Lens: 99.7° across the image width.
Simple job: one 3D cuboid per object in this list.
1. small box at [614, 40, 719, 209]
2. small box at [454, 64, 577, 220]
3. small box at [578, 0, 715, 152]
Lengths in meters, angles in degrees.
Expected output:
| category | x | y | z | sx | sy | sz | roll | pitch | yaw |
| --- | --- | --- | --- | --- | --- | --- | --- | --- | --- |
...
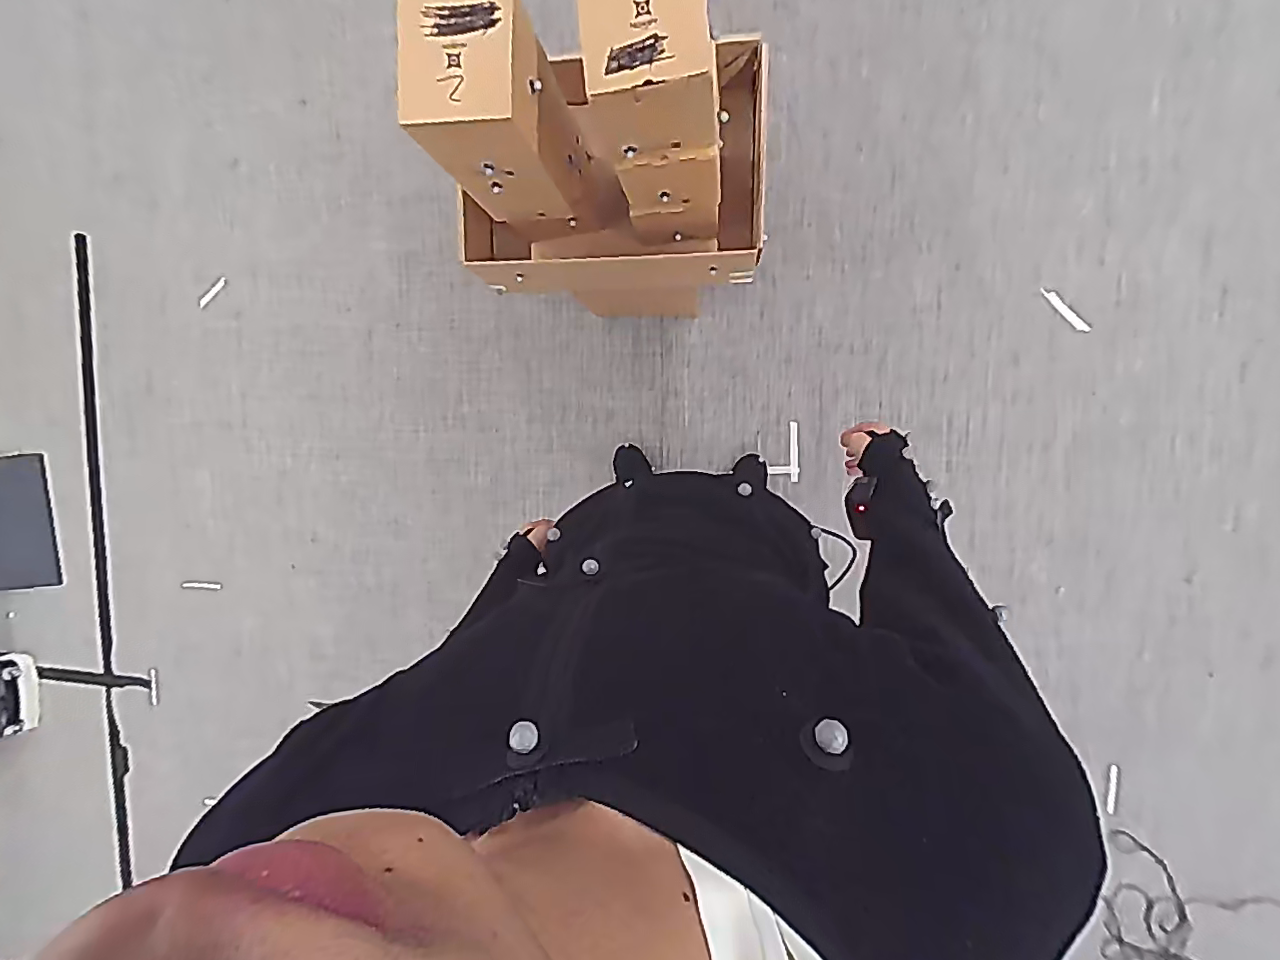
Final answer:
| category | x | y | z | sx | sy | sz | roll | pitch | yaw |
| --- | --- | --- | --- | --- | --- | --- | --- | --- | --- |
| small box | 0.049 | -0.592 | 0.923 | 0.168 | 0.176 | 0.179 | -1 | 94 | 9 |
| small box | -0.215 | -0.590 | 0.964 | 0.168 | 0.176 | 0.179 | 2 | 93 | 10 |
| small box | 0.016 | -0.593 | 0.761 | 0.168 | 0.176 | 0.179 | -5 | 93 | 9 |
